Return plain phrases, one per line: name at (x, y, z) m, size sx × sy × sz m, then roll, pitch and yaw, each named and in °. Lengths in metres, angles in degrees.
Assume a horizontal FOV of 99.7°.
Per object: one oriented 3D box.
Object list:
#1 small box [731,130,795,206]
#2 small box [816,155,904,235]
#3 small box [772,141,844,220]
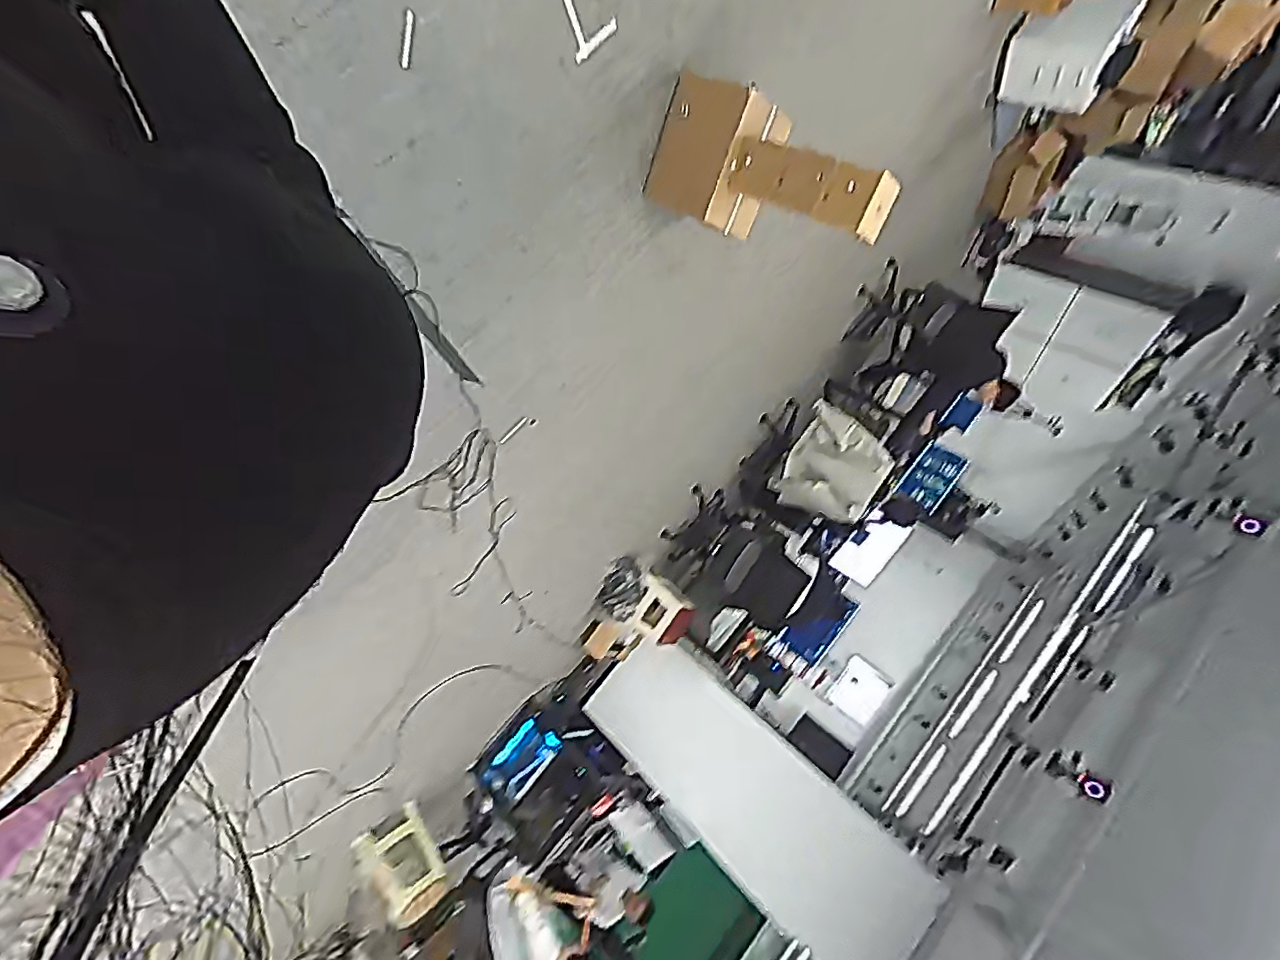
small box at (0.440, -1.050, 1.818) m, size 0.179 × 0.176 × 0.168 m, roll -12°, pitch 131°, yaw -49°
small box at (0.671, -0.878, 1.662) m, size 0.179 × 0.176 × 0.168 m, roll -13°, pitch 131°, yaw -50°
small box at (0.558, -0.966, 1.741) m, size 0.179 × 0.176 × 0.168 m, roll -13°, pitch 131°, yaw -50°
